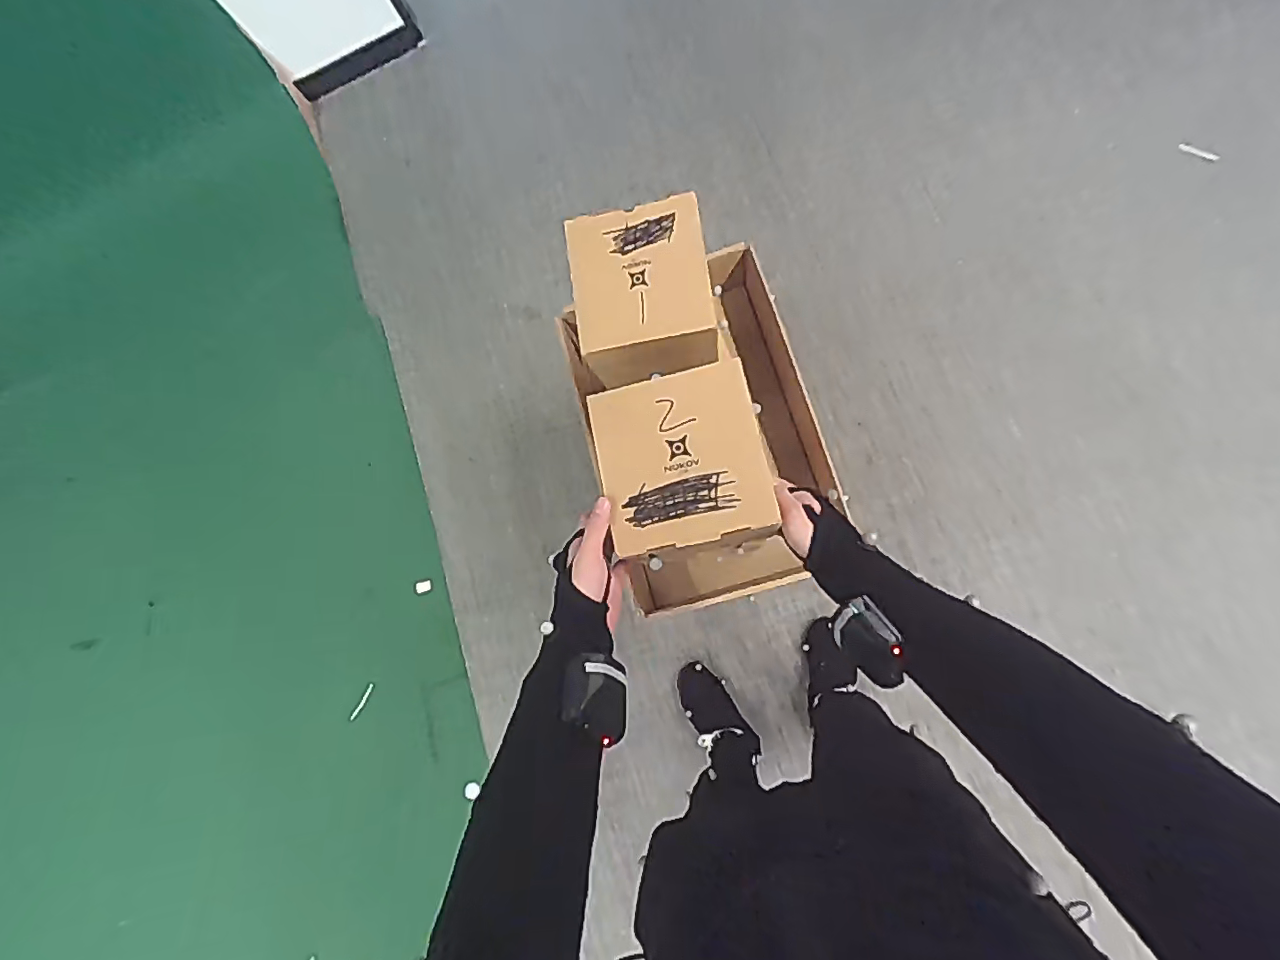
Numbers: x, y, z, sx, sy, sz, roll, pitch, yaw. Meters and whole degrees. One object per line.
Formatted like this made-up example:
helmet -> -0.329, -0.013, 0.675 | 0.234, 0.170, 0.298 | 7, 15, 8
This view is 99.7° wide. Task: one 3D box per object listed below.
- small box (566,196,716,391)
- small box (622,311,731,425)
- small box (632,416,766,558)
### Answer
small box -> 0.009, -0.236, 0.725 | 0.168, 0.176, 0.179 | -9, 82, 9
small box -> 0.044, -0.210, 0.883 | 0.168, 0.176, 0.179 | -19, 80, 7
small box -> 0.095, 0.021, 0.830 | 0.168, 0.176, 0.179 | -12, 77, 8
